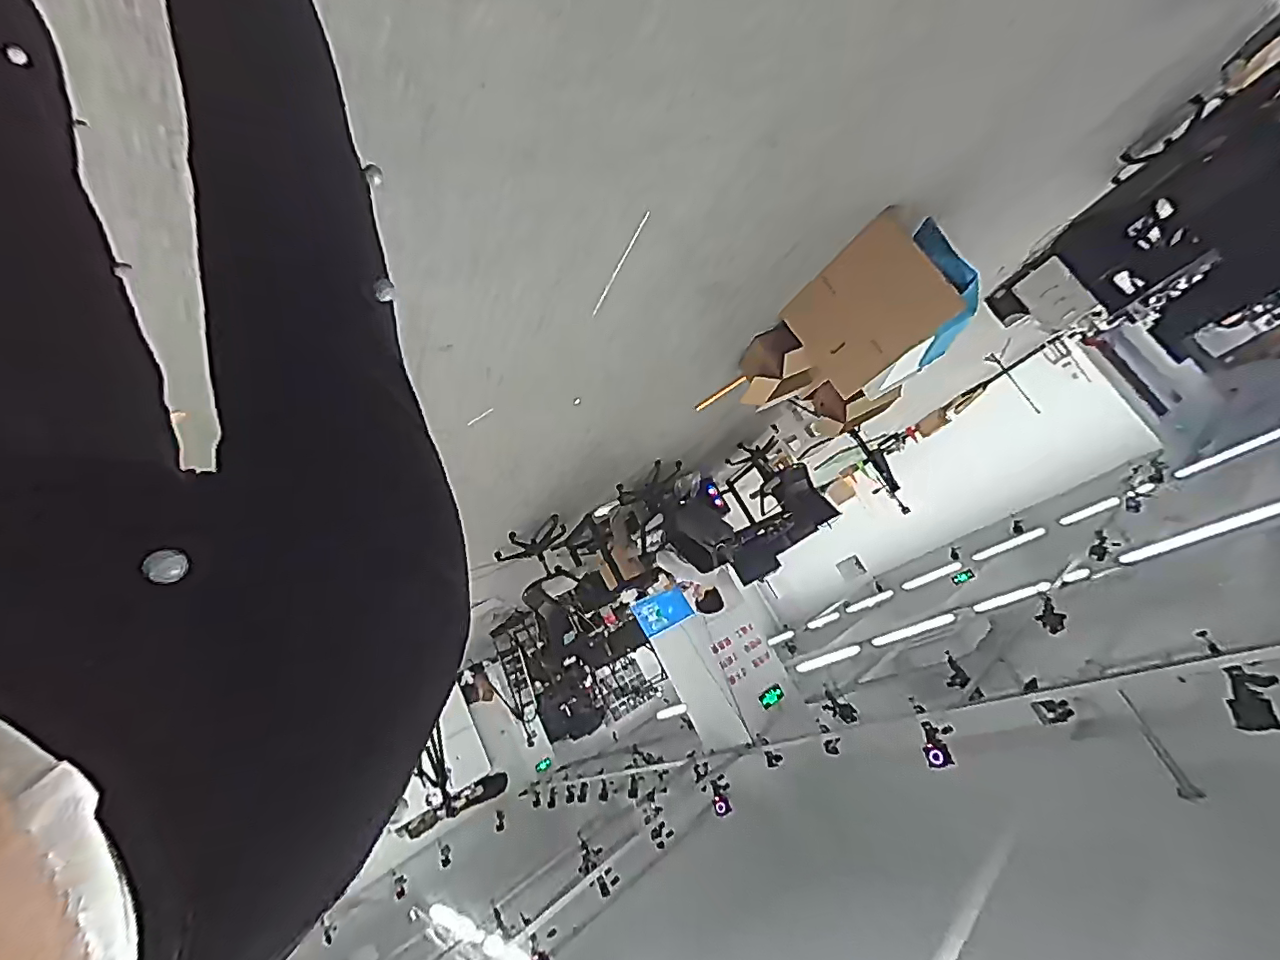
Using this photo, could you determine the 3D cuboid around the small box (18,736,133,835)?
[{"bbox_3d":[-1.484,0.800,1.426,0.168,0.176,0.179,-16,162,-38],"label":"small box"}]
